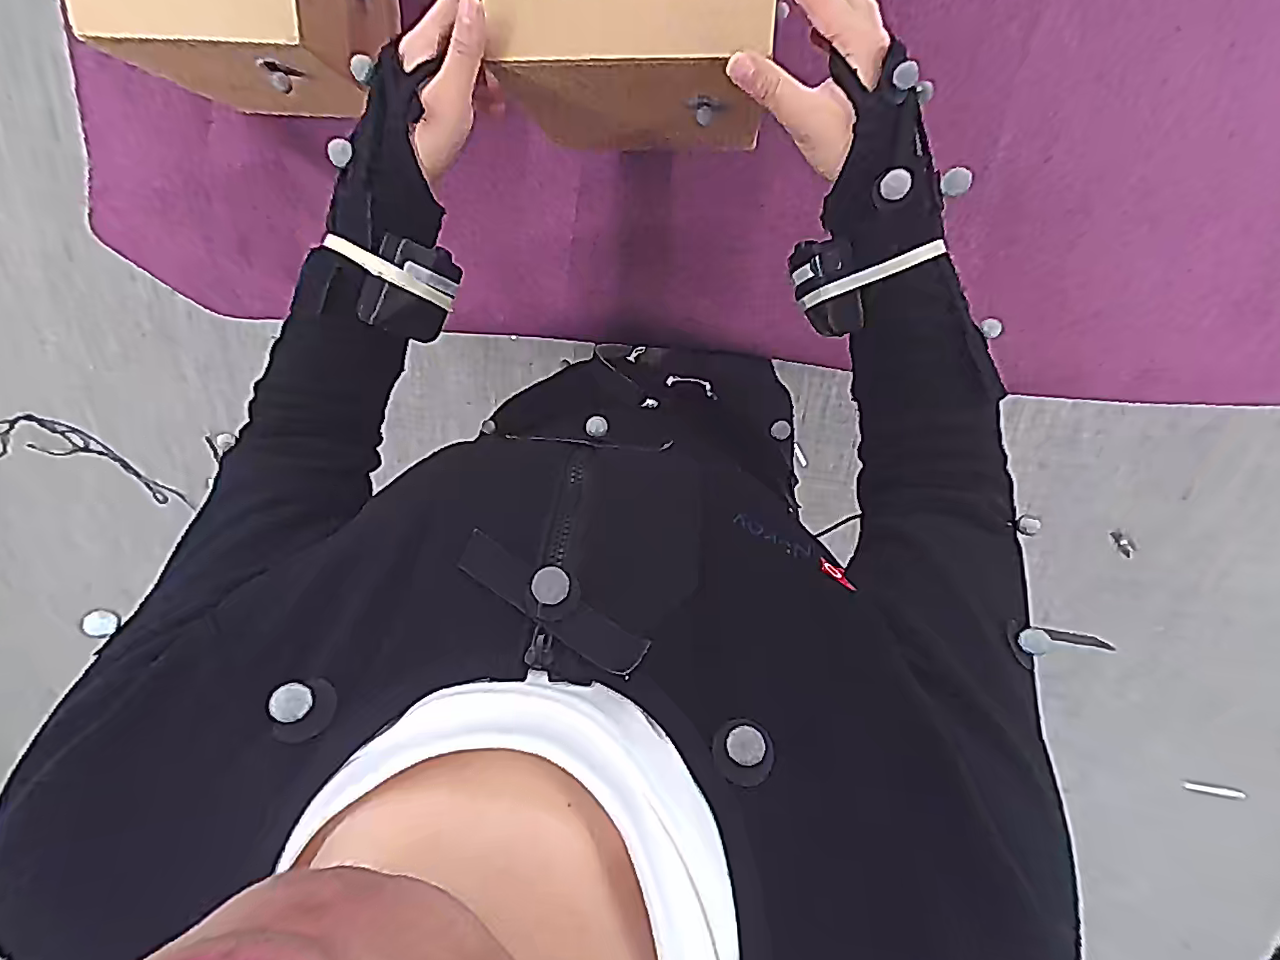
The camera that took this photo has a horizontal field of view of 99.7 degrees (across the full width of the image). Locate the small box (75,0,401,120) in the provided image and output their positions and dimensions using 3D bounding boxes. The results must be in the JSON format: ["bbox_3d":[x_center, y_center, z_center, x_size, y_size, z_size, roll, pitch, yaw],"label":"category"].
[{"bbox_3d":[-0.316,-0.421,0.448,0.179,0.176,0.168,5,107,2],"label":"small box"}]
